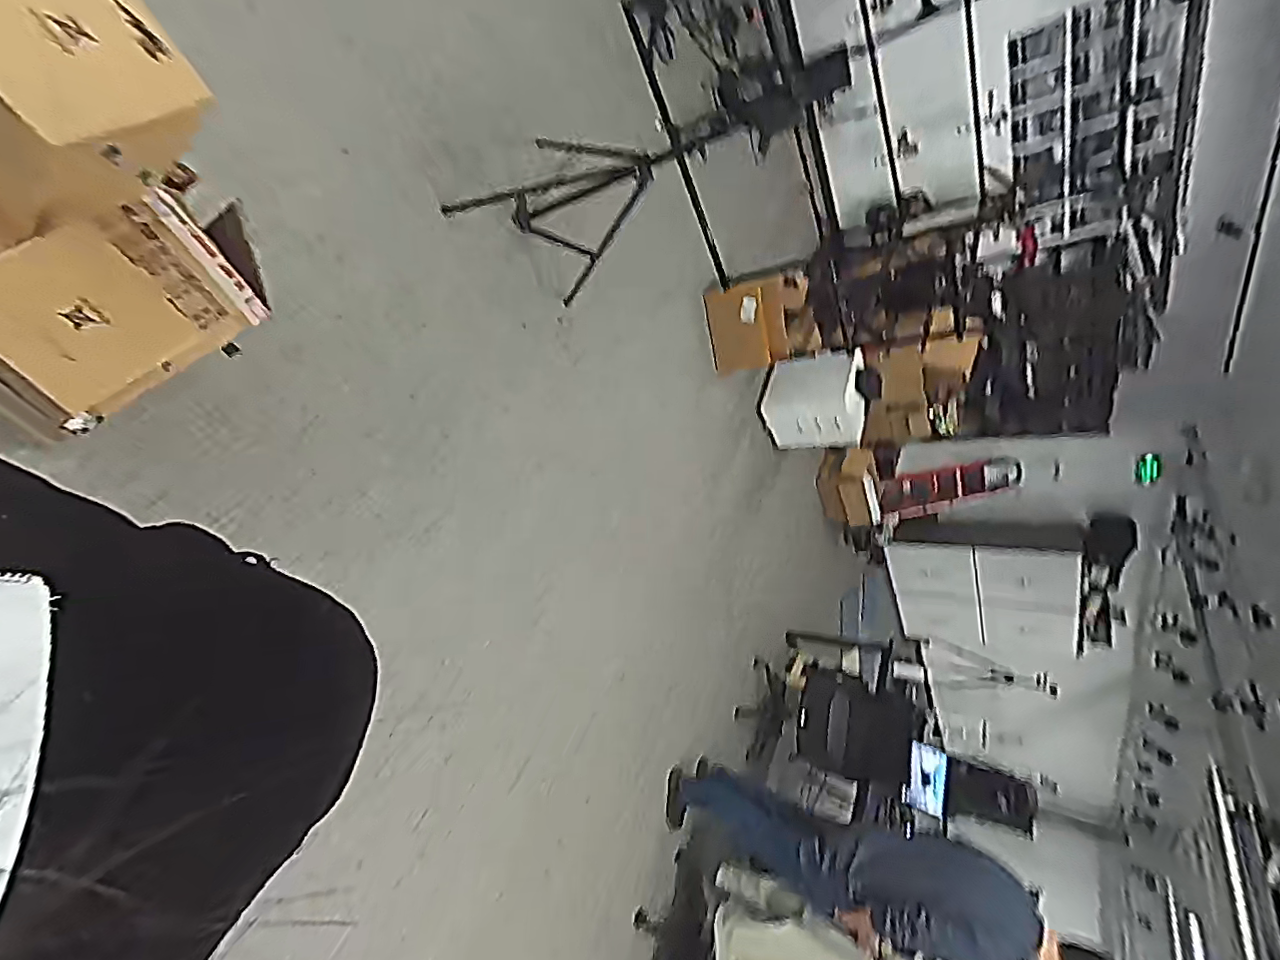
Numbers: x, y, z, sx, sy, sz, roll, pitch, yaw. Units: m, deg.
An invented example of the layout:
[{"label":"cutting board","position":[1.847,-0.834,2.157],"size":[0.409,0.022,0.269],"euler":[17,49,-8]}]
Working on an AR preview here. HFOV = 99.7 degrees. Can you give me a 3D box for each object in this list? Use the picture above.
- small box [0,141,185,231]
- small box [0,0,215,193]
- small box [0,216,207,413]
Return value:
[{"label":"small box","position":[-0.732,-0.440,0.667],"size":[0.179,0.176,0.168],"euler":[-57,130,-34]},{"label":"small box","position":[-0.605,-0.430,0.562],"size":[0.179,0.176,0.168],"euler":[-55,130,-35]},{"label":"small box","position":[-0.720,-0.202,0.690],"size":[0.179,0.176,0.168],"euler":[-56,130,-34]}]
